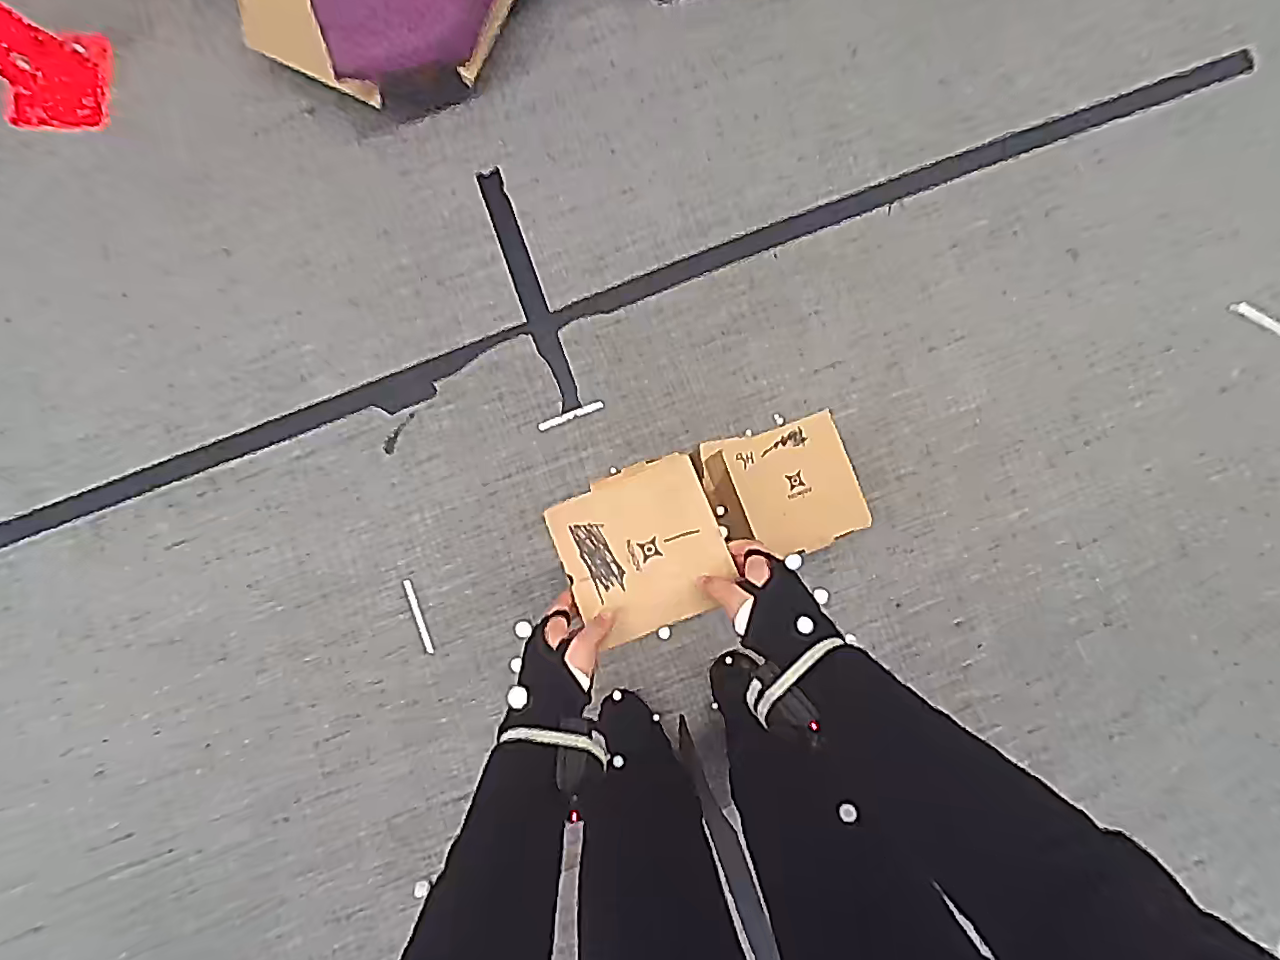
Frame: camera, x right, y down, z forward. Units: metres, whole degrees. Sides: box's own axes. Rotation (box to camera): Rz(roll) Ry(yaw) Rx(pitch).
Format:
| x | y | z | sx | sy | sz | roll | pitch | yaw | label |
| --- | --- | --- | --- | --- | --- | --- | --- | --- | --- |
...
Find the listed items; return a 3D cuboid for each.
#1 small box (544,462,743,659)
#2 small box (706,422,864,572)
| x | y | z | sx | sy | sz | roll | pitch | yaw | label |
| --- | --- | --- | --- | --- | --- | --- | --- | --- | --- |
| 0.008 | 0.101 | 0.655 | 0.179 | 0.176 | 0.168 | -22 | 78 | -1 | small box |
| 0.214 | 0.026 | 0.844 | 0.168 | 0.176 | 0.179 | -20 | 88 | -2 | small box |
